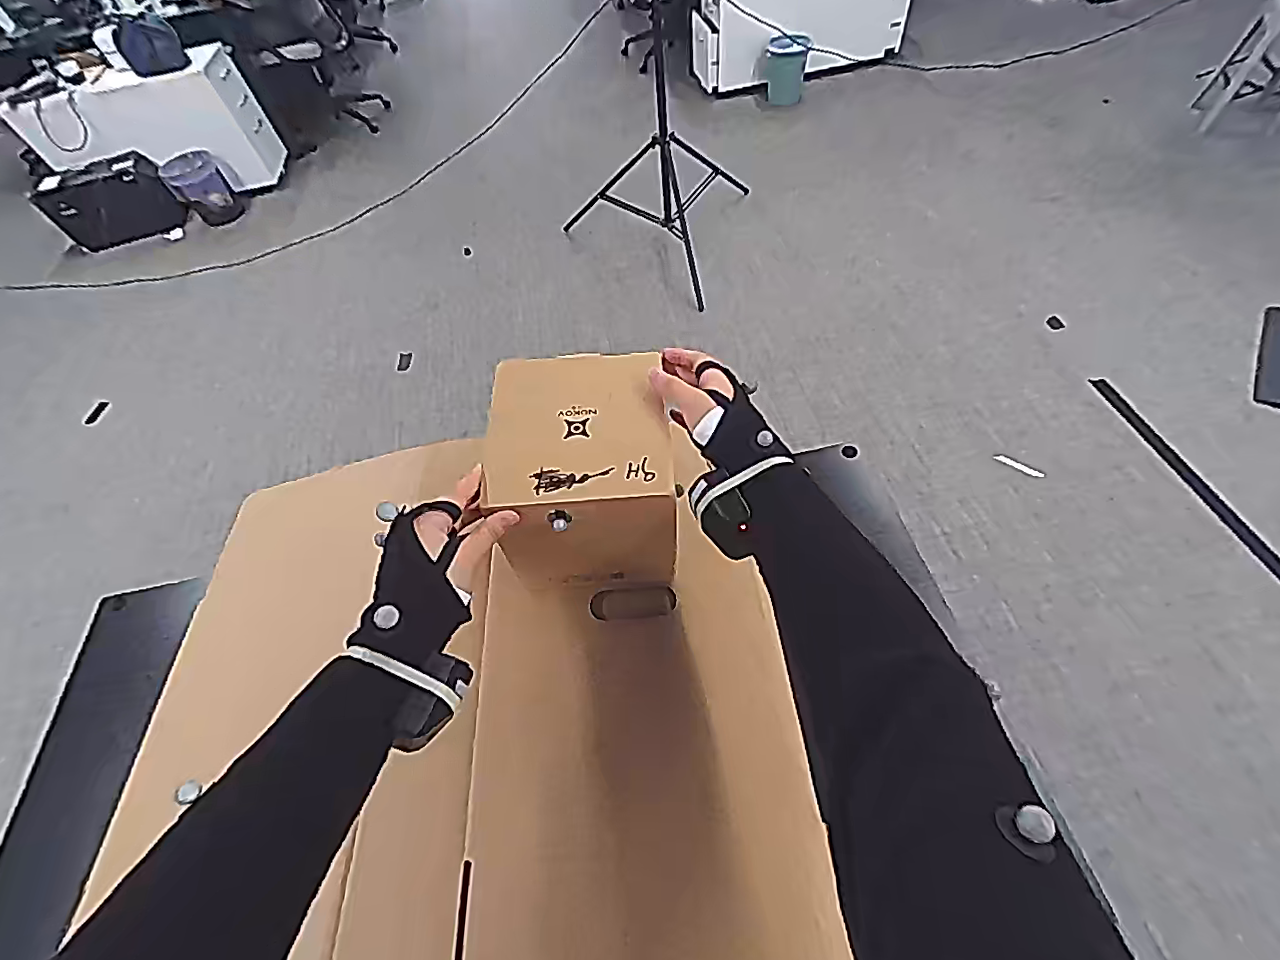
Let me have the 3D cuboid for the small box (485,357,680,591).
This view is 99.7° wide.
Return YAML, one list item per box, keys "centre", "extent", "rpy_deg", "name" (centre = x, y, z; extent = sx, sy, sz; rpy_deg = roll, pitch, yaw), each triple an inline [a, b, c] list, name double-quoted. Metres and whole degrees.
- centre: [-0.049, -0.003, 0.563]
  extent: [0.168, 0.176, 0.179]
  rpy_deg: [-5, 54, 1]
  name: "small box"
